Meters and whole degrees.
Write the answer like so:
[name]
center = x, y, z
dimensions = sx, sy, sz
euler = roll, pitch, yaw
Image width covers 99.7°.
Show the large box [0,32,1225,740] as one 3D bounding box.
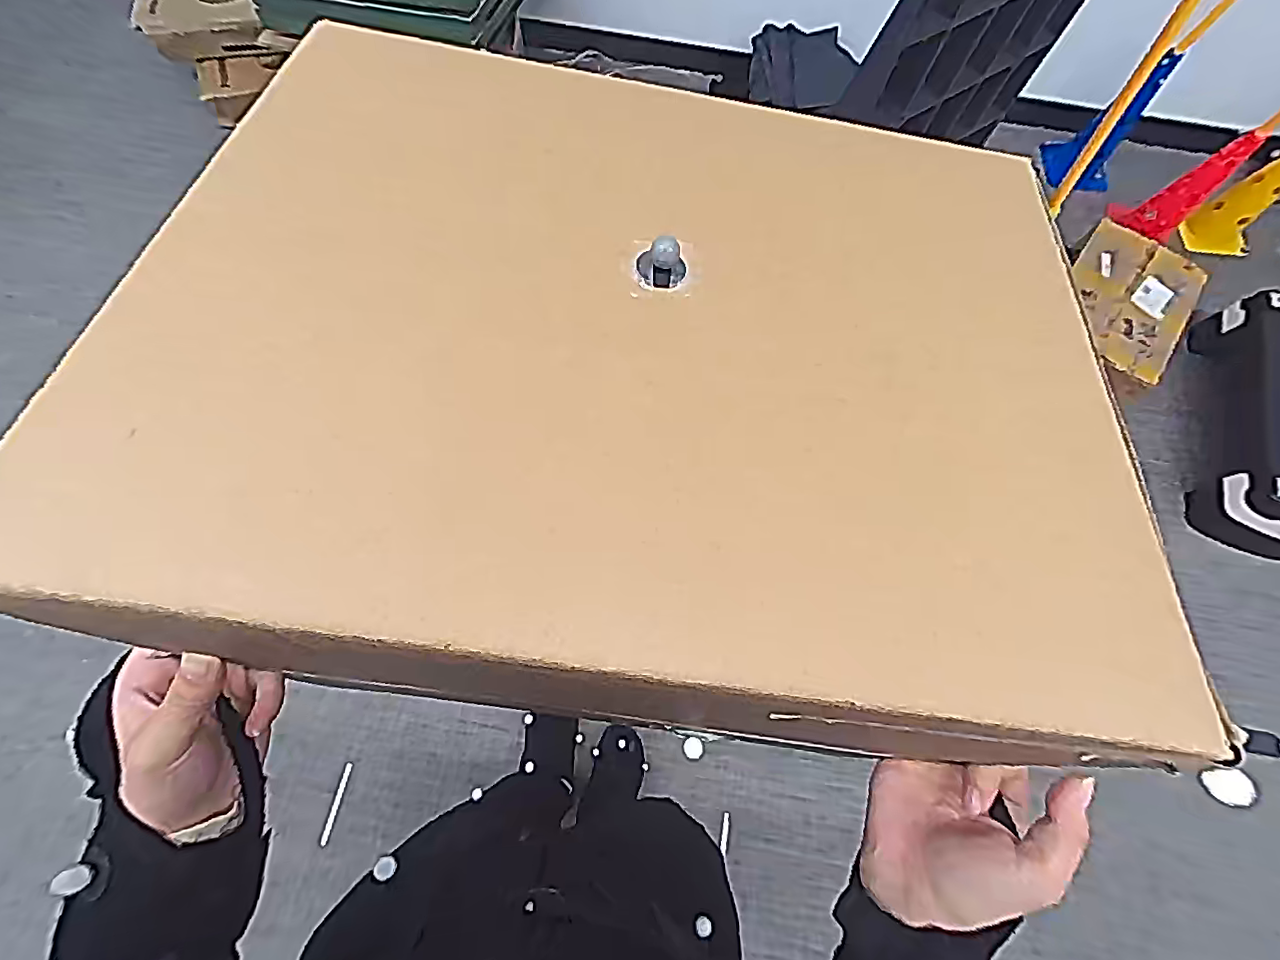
[large box]
center = -0.008, -0.023, 0.364
dimensions = 0.408, 0.320, 0.320
euler = 8, 65, -2
